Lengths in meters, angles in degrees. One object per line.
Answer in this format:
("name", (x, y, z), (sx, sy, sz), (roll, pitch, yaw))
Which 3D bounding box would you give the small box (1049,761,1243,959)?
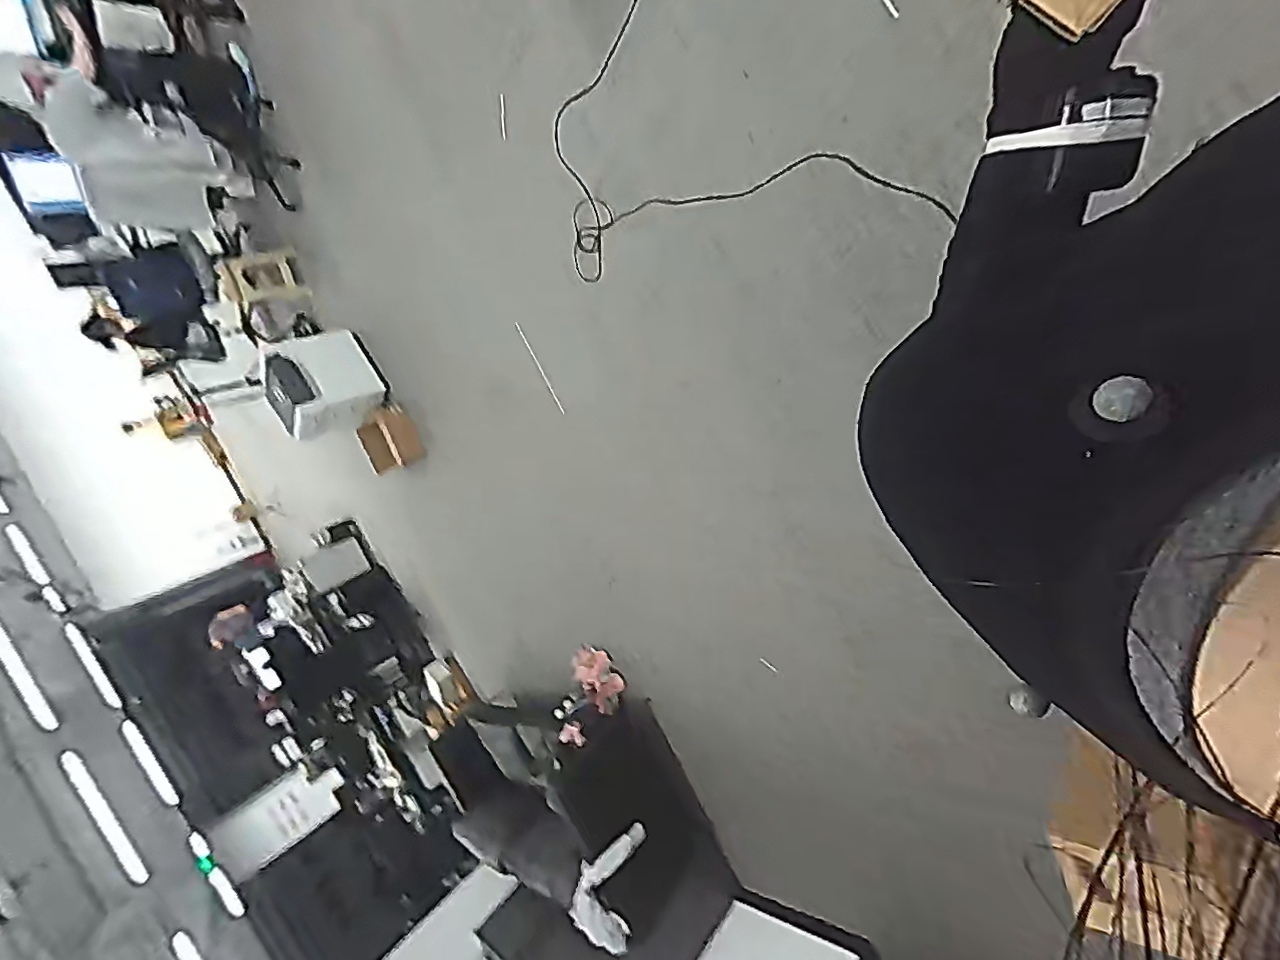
("small box", (0.749, 0.552, 0.800), (0.179, 0.176, 0.168), (-16, 99, 50))

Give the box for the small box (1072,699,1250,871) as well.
("small box", (0.862, 0.489, 0.901), (0.179, 0.176, 0.168), (-18, 97, 49))
